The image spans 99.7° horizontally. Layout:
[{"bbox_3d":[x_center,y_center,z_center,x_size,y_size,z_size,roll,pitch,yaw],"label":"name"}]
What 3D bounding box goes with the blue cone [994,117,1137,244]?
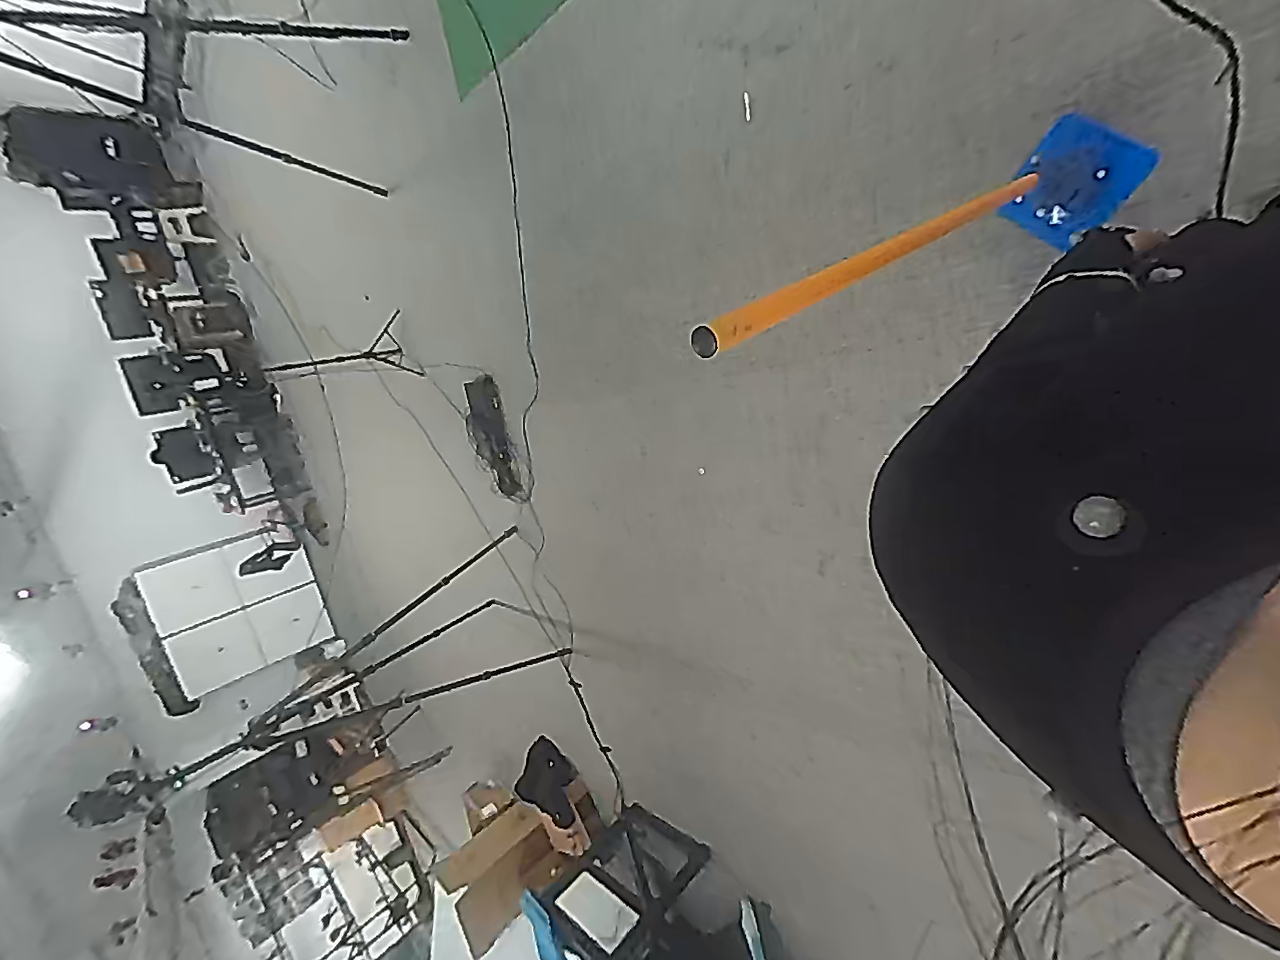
[{"bbox_3d":[0.740,-0.544,0.990,0.192,0.380,0.193,45,137,20],"label":"blue cone"}]
